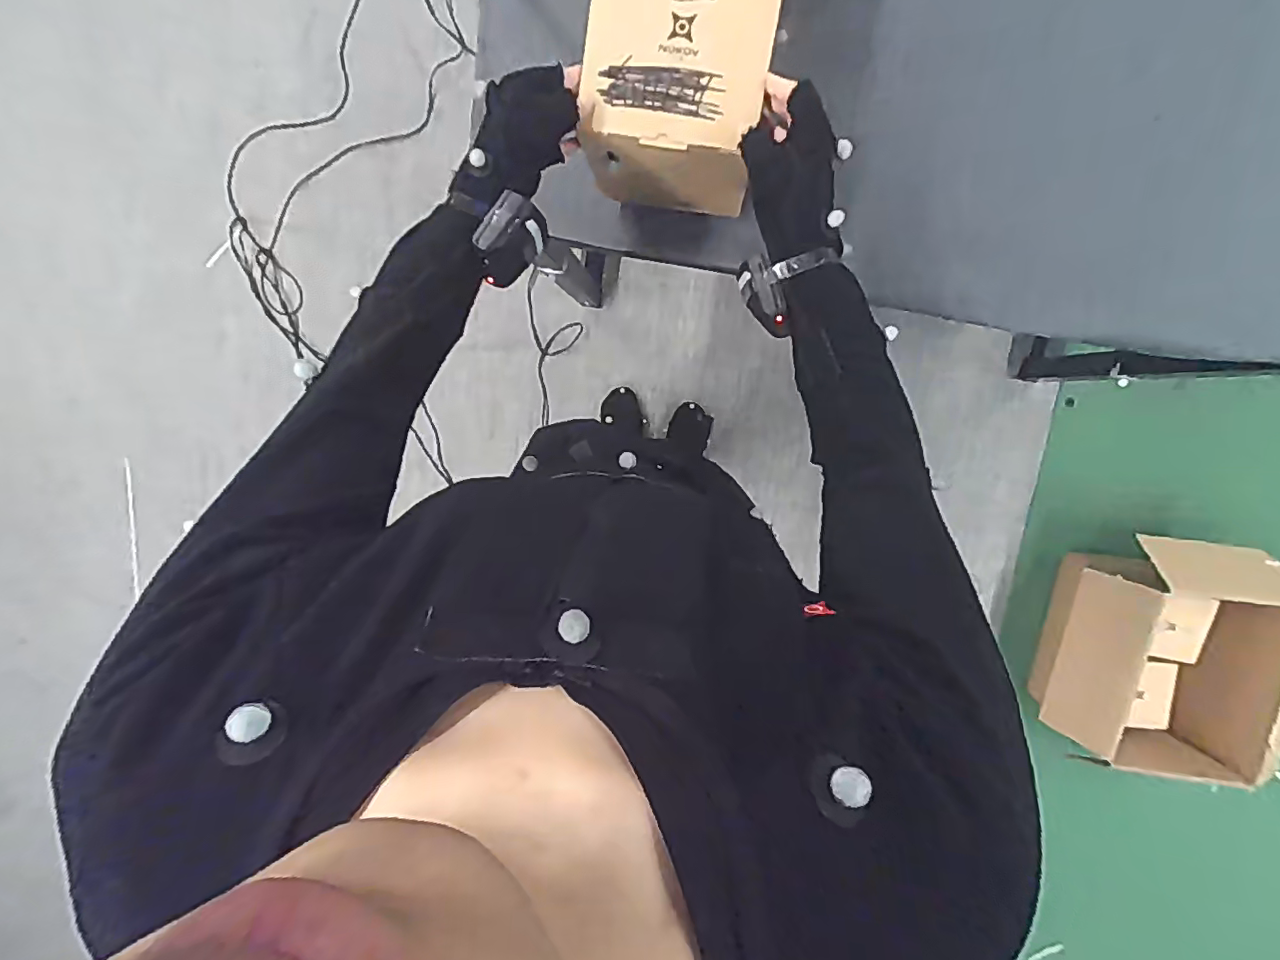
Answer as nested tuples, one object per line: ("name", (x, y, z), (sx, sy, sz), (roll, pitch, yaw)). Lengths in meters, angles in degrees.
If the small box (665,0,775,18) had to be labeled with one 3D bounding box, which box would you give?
("small box", (0.086, -0.626, 0.543), (0.168, 0.176, 0.179), (11, 101, 2))
